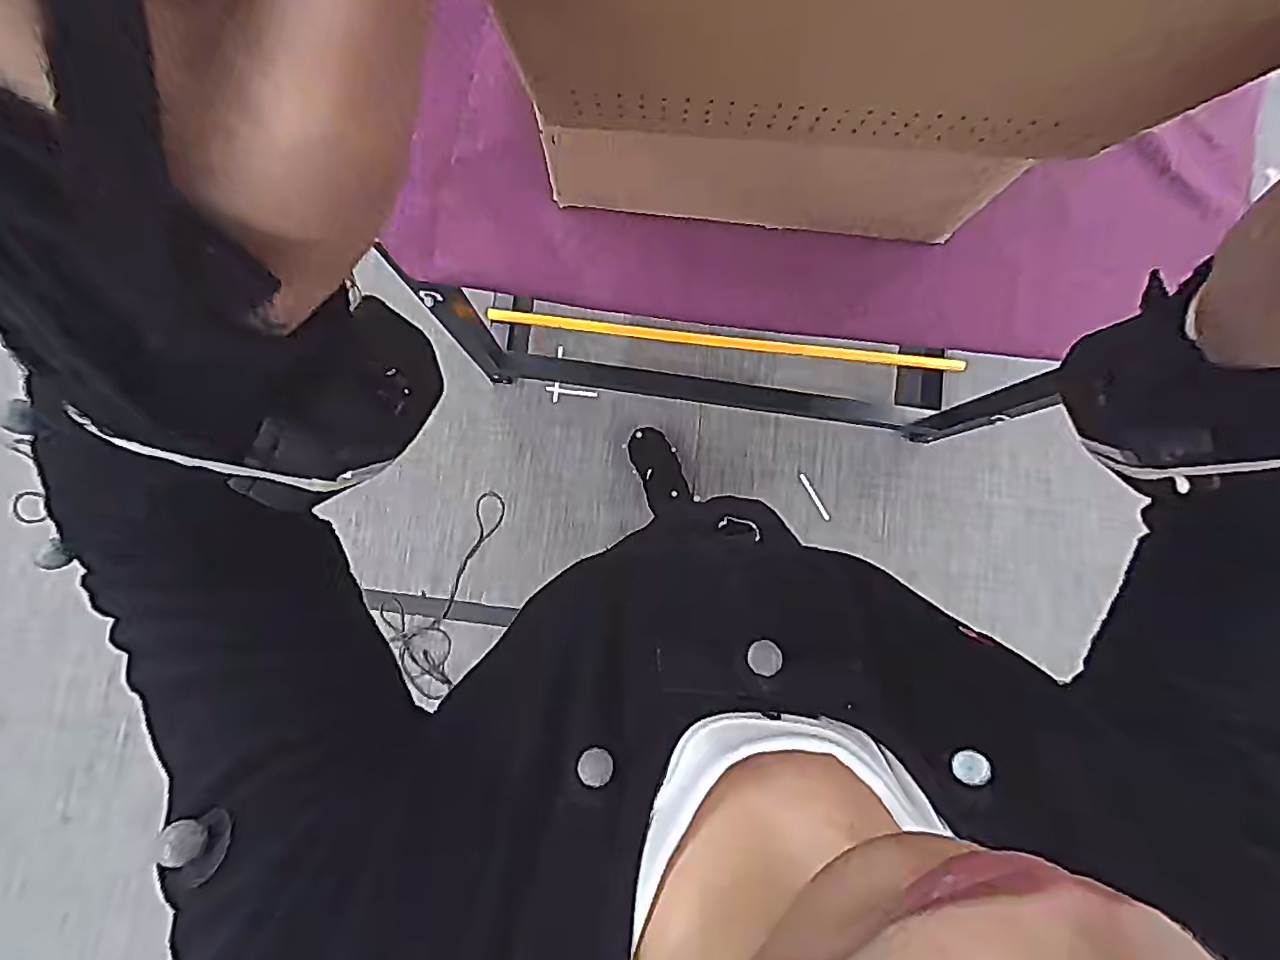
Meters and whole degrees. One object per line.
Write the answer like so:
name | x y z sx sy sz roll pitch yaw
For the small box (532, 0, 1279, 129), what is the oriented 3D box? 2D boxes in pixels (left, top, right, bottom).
small box | 0.061 -0.172 0.071 0.179 0.176 0.168 4 103 0
